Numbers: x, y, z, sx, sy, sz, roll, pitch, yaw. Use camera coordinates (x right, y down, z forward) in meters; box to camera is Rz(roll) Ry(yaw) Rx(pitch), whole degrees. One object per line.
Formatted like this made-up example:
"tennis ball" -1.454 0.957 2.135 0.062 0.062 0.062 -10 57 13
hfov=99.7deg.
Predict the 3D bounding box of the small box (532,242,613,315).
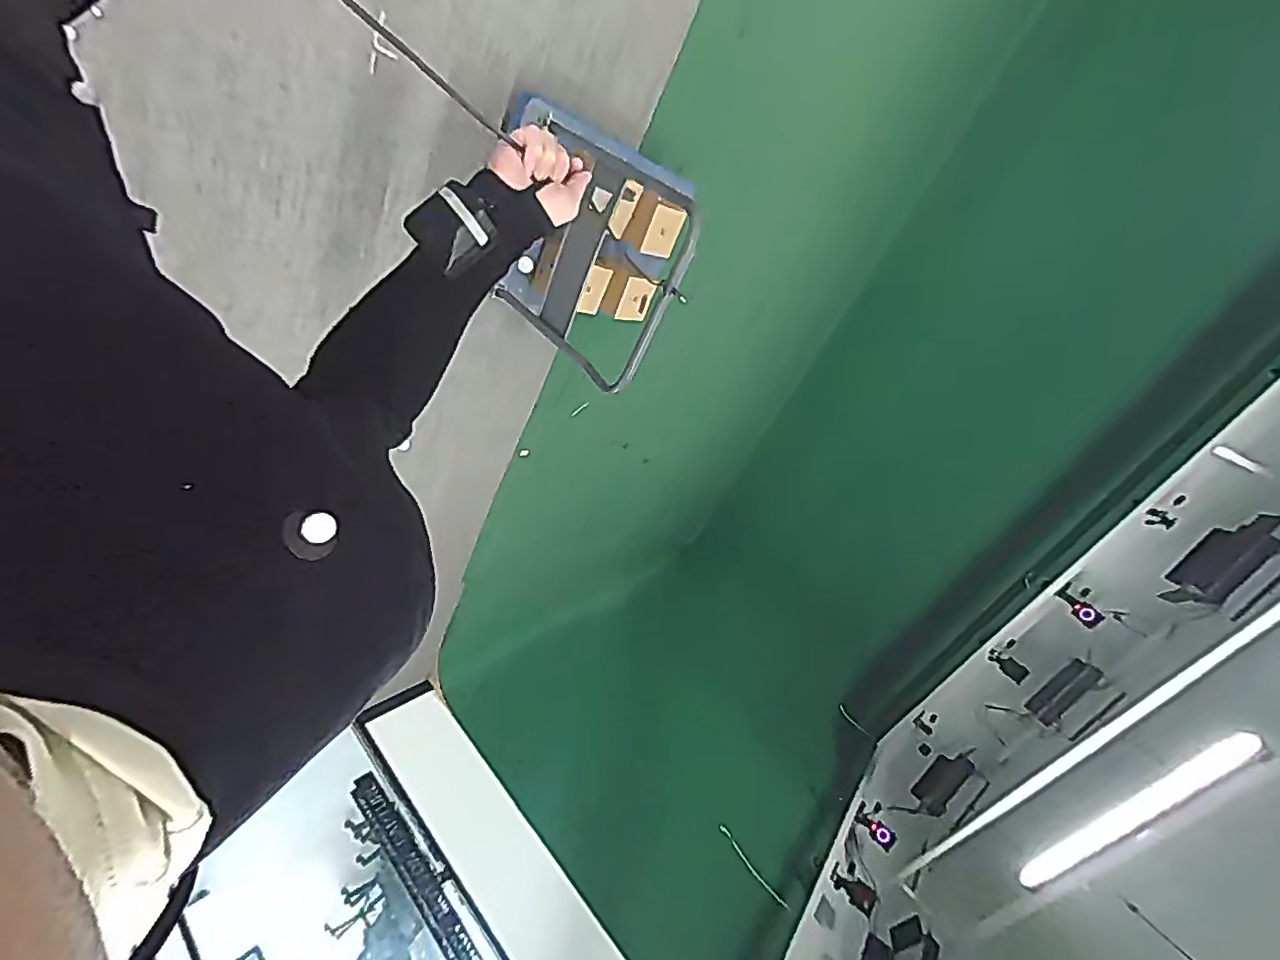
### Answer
"small box" -0.231 -0.687 1.843 0.179 0.176 0.168 -10 136 -52

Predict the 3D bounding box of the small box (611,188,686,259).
"small box" 0.026 -0.916 1.929 0.179 0.176 0.168 -16 141 -50

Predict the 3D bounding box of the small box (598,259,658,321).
"small box" -0.069 -0.721 2.056 0.179 0.176 0.168 -15 139 -49
